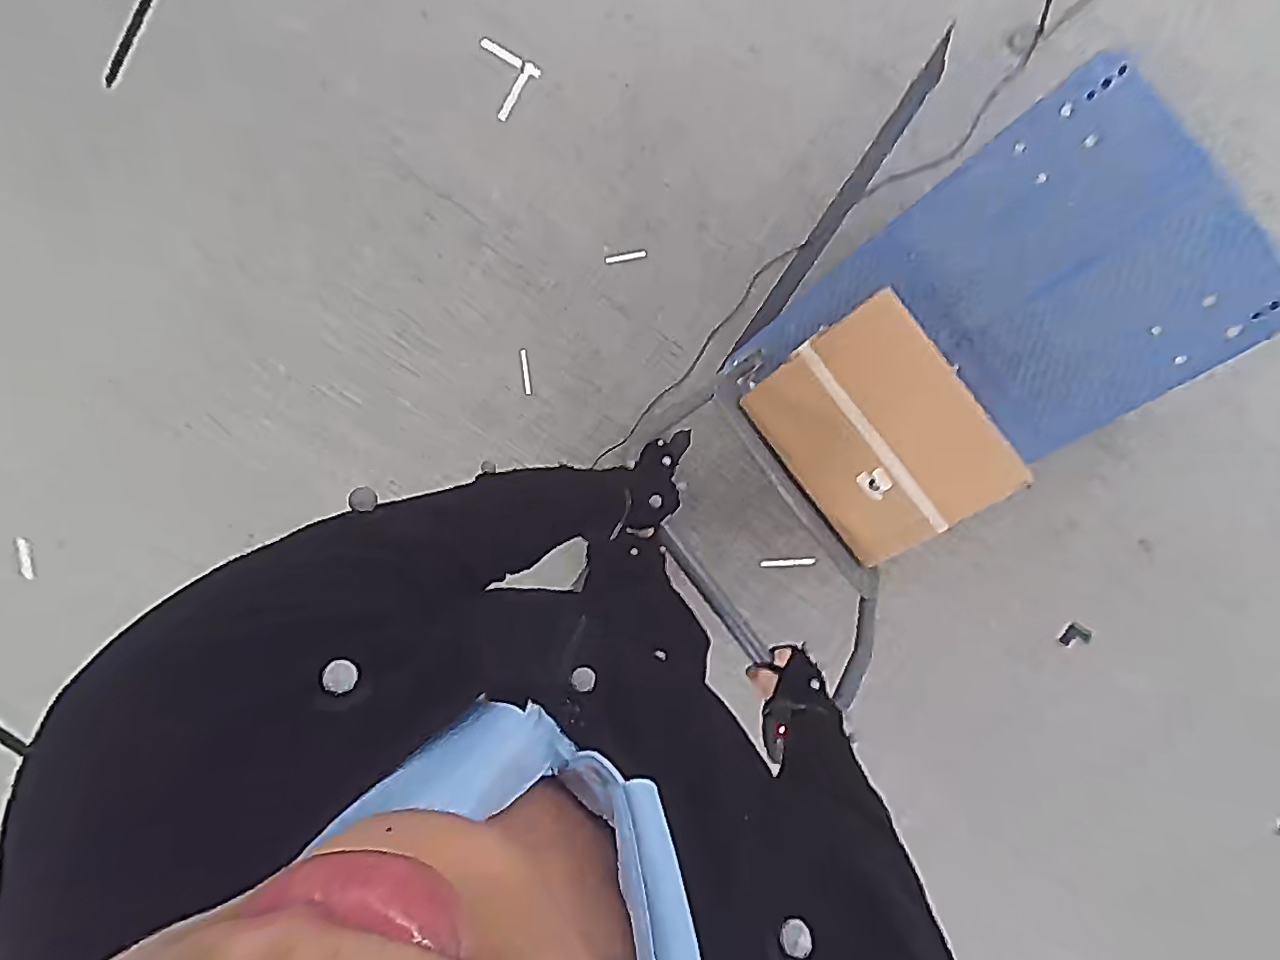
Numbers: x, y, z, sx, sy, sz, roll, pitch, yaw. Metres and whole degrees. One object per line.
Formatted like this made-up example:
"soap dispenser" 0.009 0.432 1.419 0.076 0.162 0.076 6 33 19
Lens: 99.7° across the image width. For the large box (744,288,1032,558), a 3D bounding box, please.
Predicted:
"large box" 0.476 -0.128 1.094 0.320 0.320 0.408 -38 91 29
